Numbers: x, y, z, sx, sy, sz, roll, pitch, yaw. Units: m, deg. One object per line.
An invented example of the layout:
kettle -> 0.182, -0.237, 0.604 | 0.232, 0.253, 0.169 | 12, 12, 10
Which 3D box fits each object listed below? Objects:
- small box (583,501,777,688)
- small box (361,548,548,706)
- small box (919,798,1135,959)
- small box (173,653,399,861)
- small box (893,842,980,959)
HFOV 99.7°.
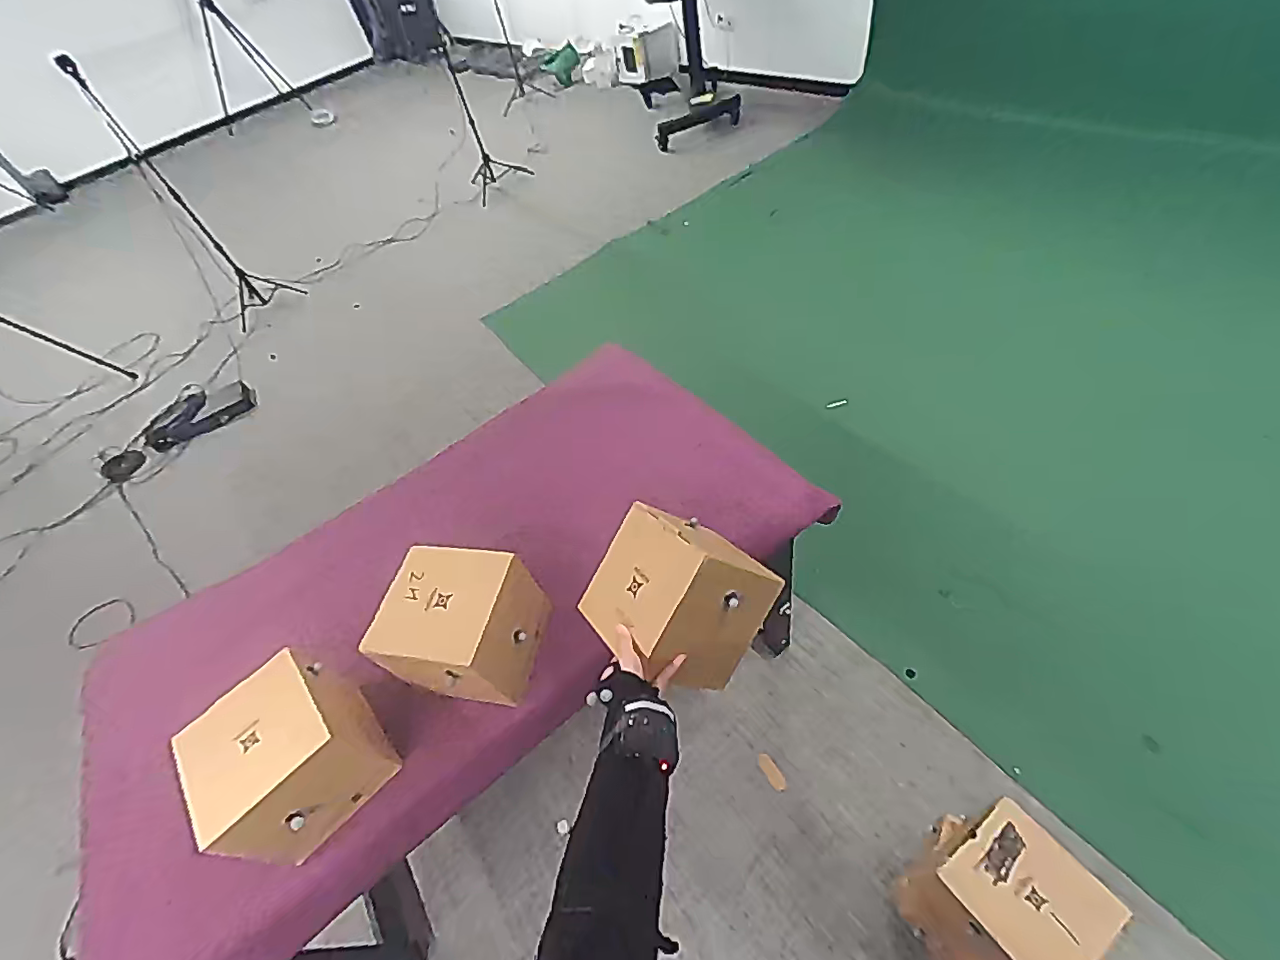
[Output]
small box -> 0.058, 0.158, 0.737 | 0.168, 0.176, 0.179 | 35, 99, 51
small box -> -0.256, 0.219, 0.798 | 0.179, 0.176, 0.168 | 2, 51, 17
small box -> 0.548, 0.616, 0.797 | 0.168, 0.176, 0.179 | -34, 53, -15
small box -> -0.463, 0.375, 0.727 | 0.168, 0.176, 0.179 | -42, 52, -20
small box -> 0.616, 0.824, 1.043 | 0.179, 0.176, 0.168 | -28, 51, -9
